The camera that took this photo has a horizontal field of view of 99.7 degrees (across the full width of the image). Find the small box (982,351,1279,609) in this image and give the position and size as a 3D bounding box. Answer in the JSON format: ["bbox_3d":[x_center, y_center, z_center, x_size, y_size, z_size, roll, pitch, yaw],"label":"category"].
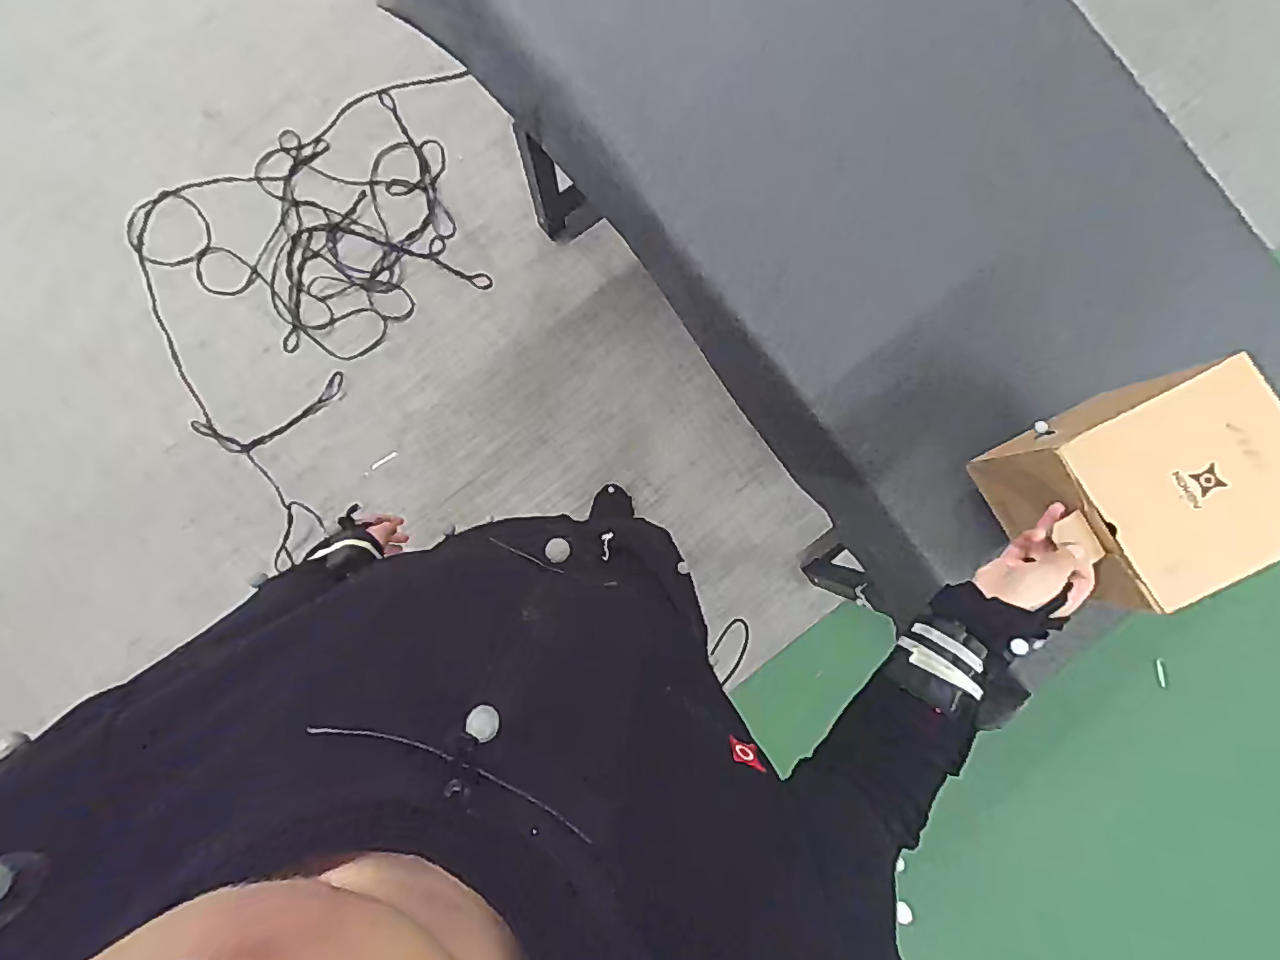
[{"bbox_3d":[0.482,0.005,0.536,0.179,0.176,0.168,-29,85,3],"label":"small box"}]
